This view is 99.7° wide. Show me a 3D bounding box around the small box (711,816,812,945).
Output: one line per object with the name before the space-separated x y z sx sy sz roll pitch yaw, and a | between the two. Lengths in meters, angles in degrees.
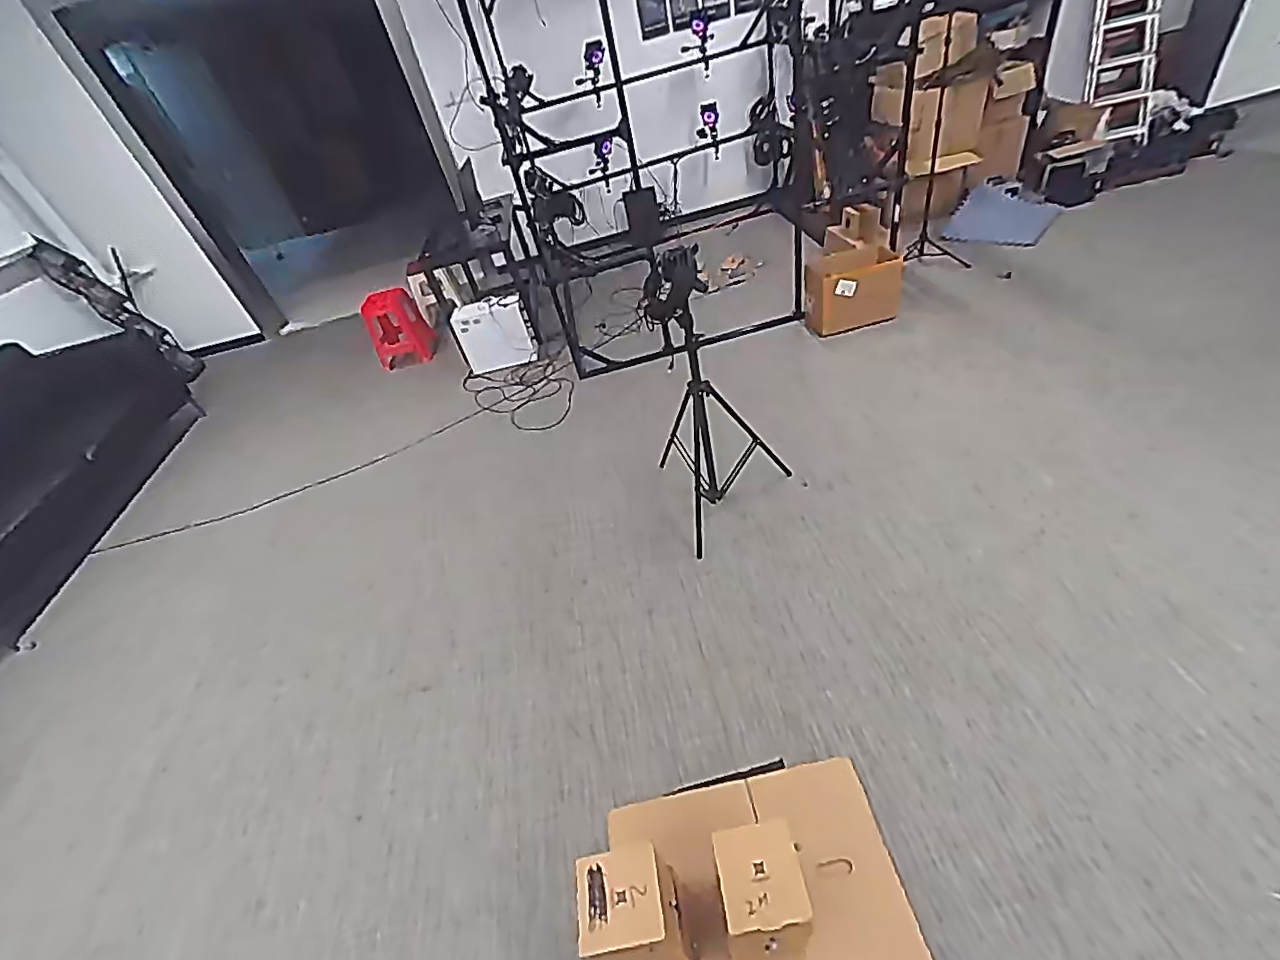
small box | 0.252 0.843 1.138 0.168 0.176 0.179 -13 41 3

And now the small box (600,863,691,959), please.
small box | 0.016 1.024 1.259 0.179 0.176 0.168 -15 40 2

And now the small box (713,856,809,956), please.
small box | 0.276 0.968 1.245 0.179 0.176 0.168 -13 41 3
